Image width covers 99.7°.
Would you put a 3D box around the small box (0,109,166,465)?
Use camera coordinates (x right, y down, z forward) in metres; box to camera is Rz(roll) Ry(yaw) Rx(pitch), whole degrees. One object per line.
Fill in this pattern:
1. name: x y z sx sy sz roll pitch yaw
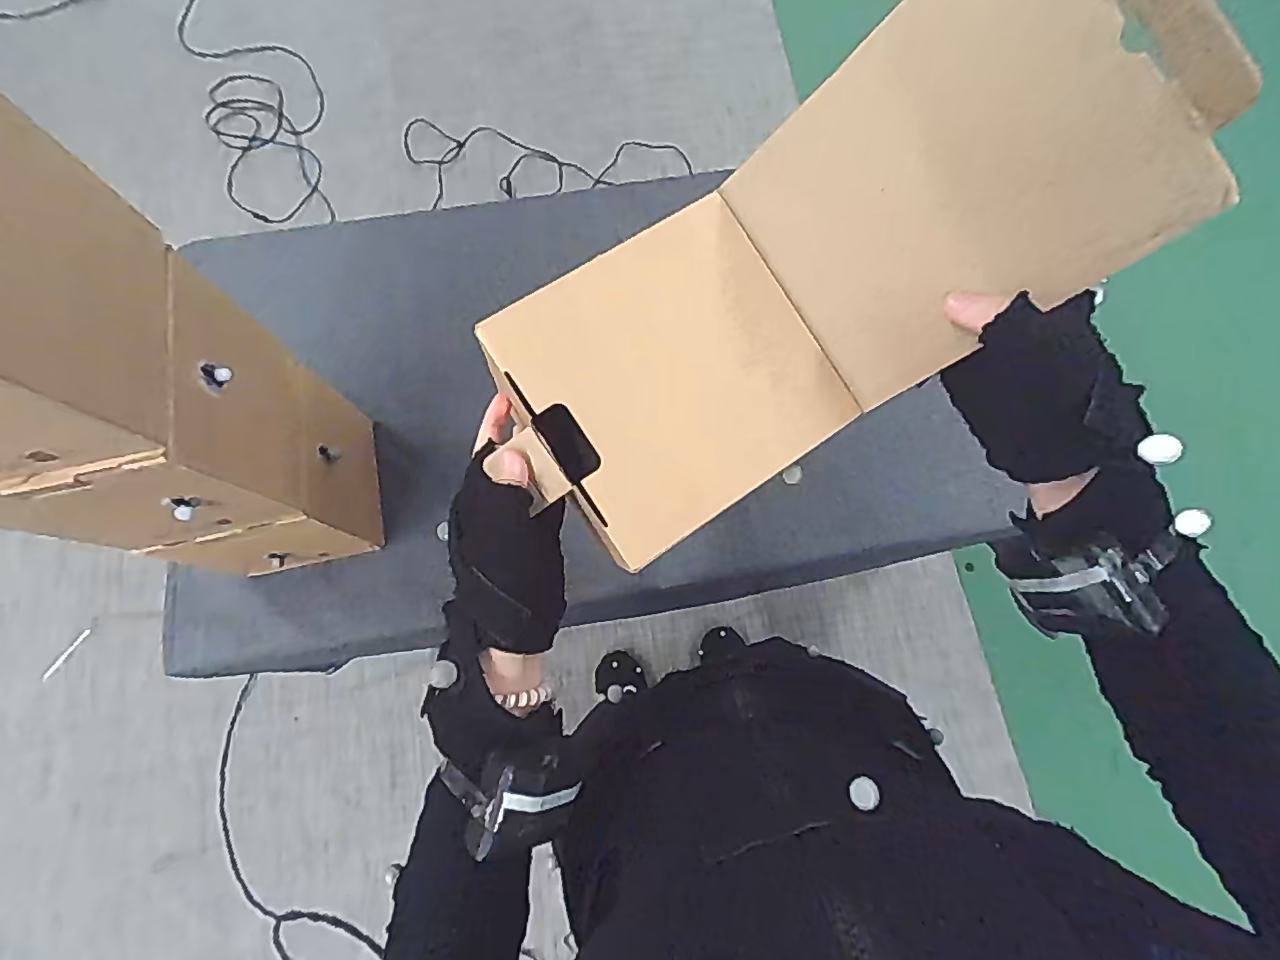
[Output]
1. small box: -0.408 -0.109 0.295 0.168 0.176 0.179 -12 74 -6

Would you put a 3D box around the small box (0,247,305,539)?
1. small box: -0.408 -0.055 0.450 0.168 0.176 0.179 -11 74 -5

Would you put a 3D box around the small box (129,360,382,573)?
1. small box: -0.410 -0.006 0.605 0.168 0.176 0.179 -12 74 -4
